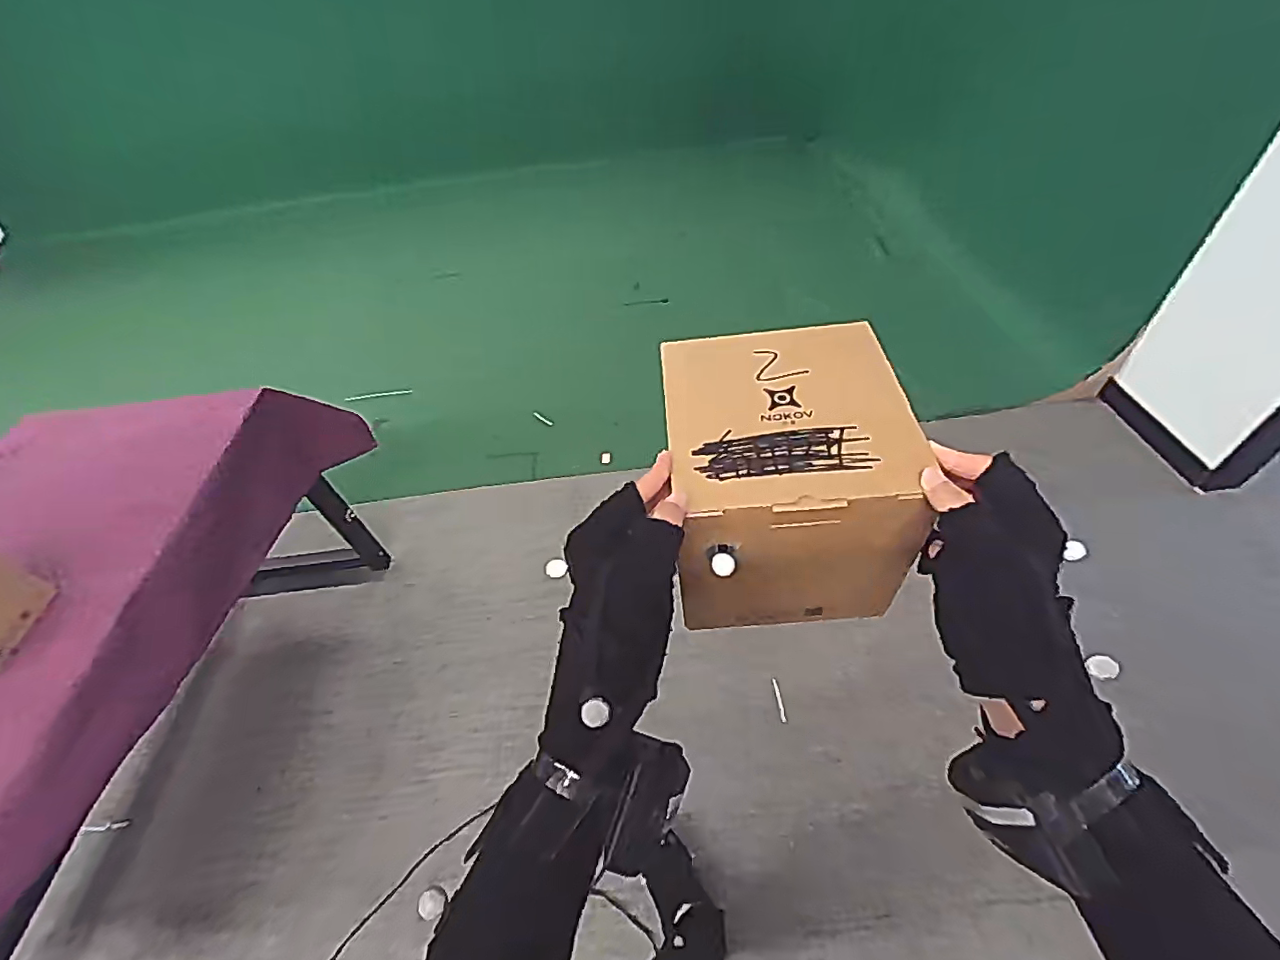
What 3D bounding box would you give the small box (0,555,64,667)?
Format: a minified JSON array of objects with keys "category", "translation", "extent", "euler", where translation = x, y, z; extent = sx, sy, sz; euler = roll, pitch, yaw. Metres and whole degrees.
[{"category":"small box","translation":[-1.111,0.212,0.861],"extent":[0.179,0.176,0.168],"euler":[-6,48,4]}]
